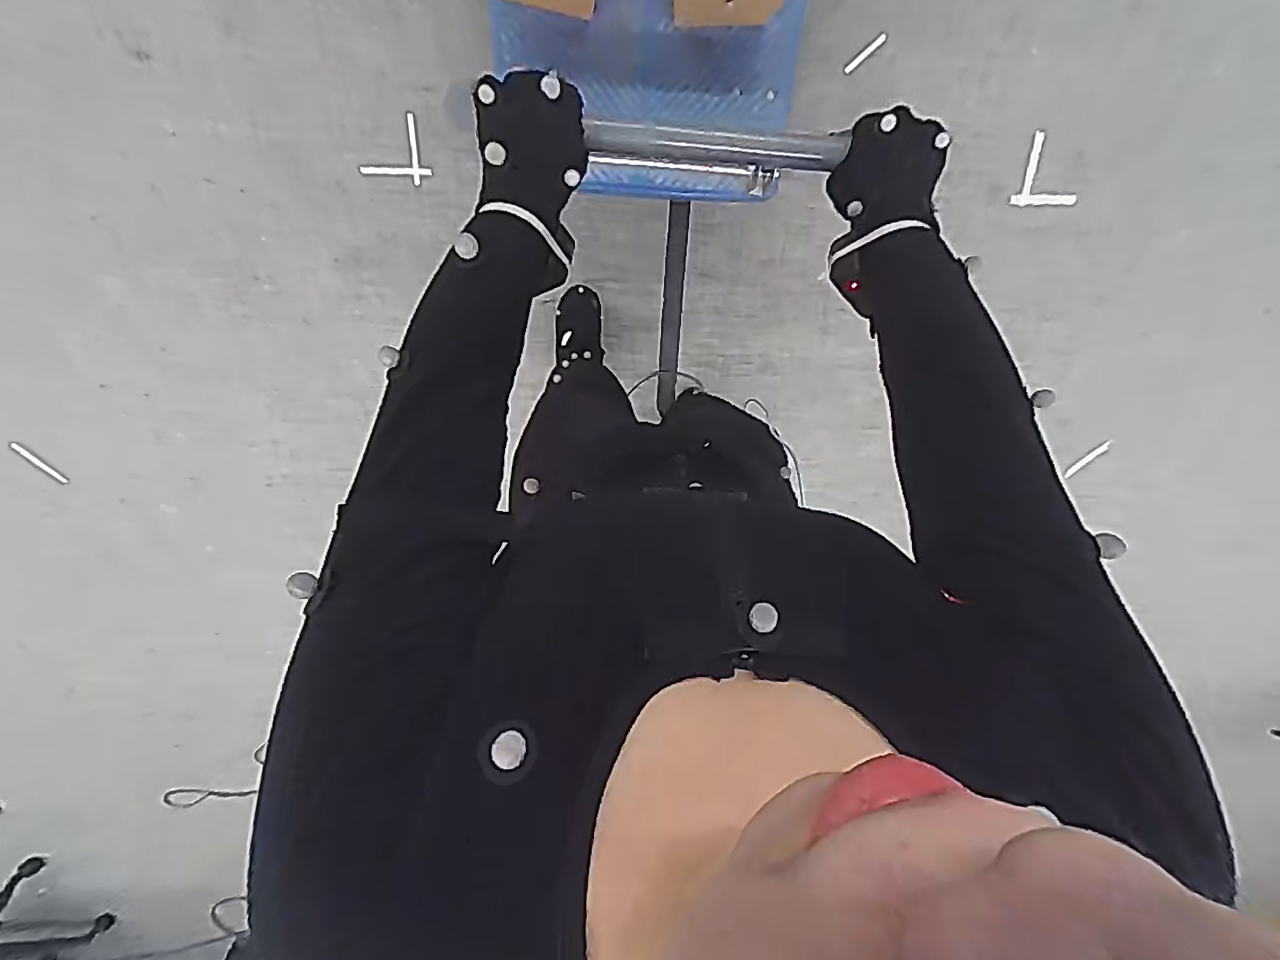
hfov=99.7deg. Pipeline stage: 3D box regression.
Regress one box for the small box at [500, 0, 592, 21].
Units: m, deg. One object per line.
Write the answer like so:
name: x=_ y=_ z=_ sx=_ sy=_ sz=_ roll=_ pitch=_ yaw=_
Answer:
small box: x=-0.157 y=-0.890 z=0.877 sx=0.179 sy=0.176 sz=0.168 roll=6 pitch=112 yaw=-10

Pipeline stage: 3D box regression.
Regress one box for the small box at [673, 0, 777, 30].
small box: x=0.149 y=-0.887 z=0.908 sx=0.179 sy=0.176 sz=0.168 roll=-4 pitch=114 yaw=-4
